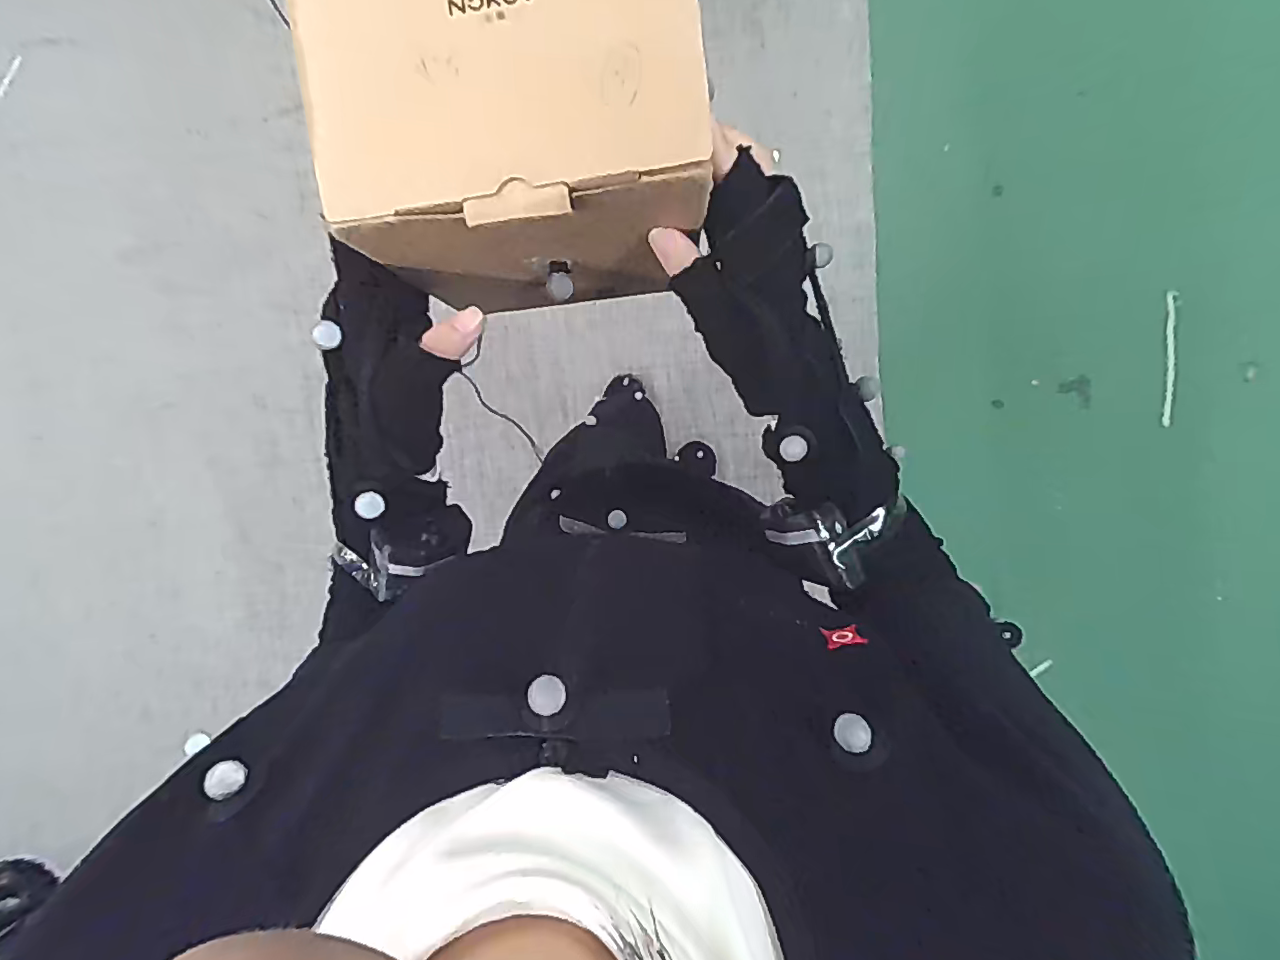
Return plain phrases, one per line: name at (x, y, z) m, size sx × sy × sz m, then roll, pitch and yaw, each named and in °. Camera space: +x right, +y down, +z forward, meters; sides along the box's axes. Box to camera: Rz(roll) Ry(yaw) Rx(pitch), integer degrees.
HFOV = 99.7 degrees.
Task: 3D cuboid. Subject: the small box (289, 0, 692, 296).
small box at (-0.061, -0.212, 0.303) m, size 0.168 × 0.176 × 0.179 m, roll -6°, pitch 95°, yaw 3°
